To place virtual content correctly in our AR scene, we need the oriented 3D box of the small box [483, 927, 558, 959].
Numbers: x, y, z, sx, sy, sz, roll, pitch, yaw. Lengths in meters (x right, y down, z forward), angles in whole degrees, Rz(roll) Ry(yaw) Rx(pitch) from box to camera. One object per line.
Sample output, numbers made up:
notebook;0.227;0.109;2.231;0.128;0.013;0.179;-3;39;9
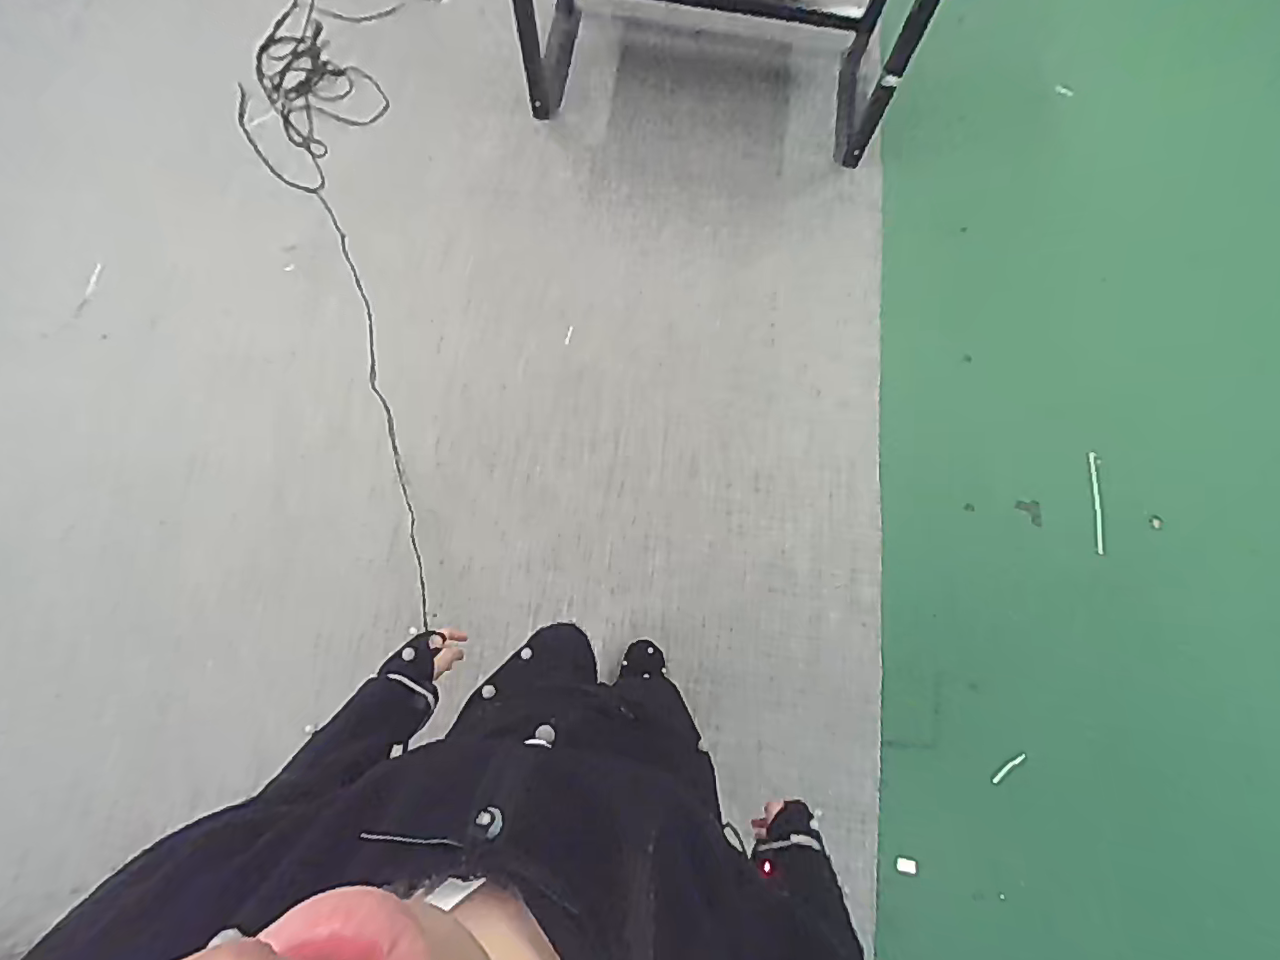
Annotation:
small box;-0.289;1.150;1.193;0.168;0.176;0.179;18;74;2
